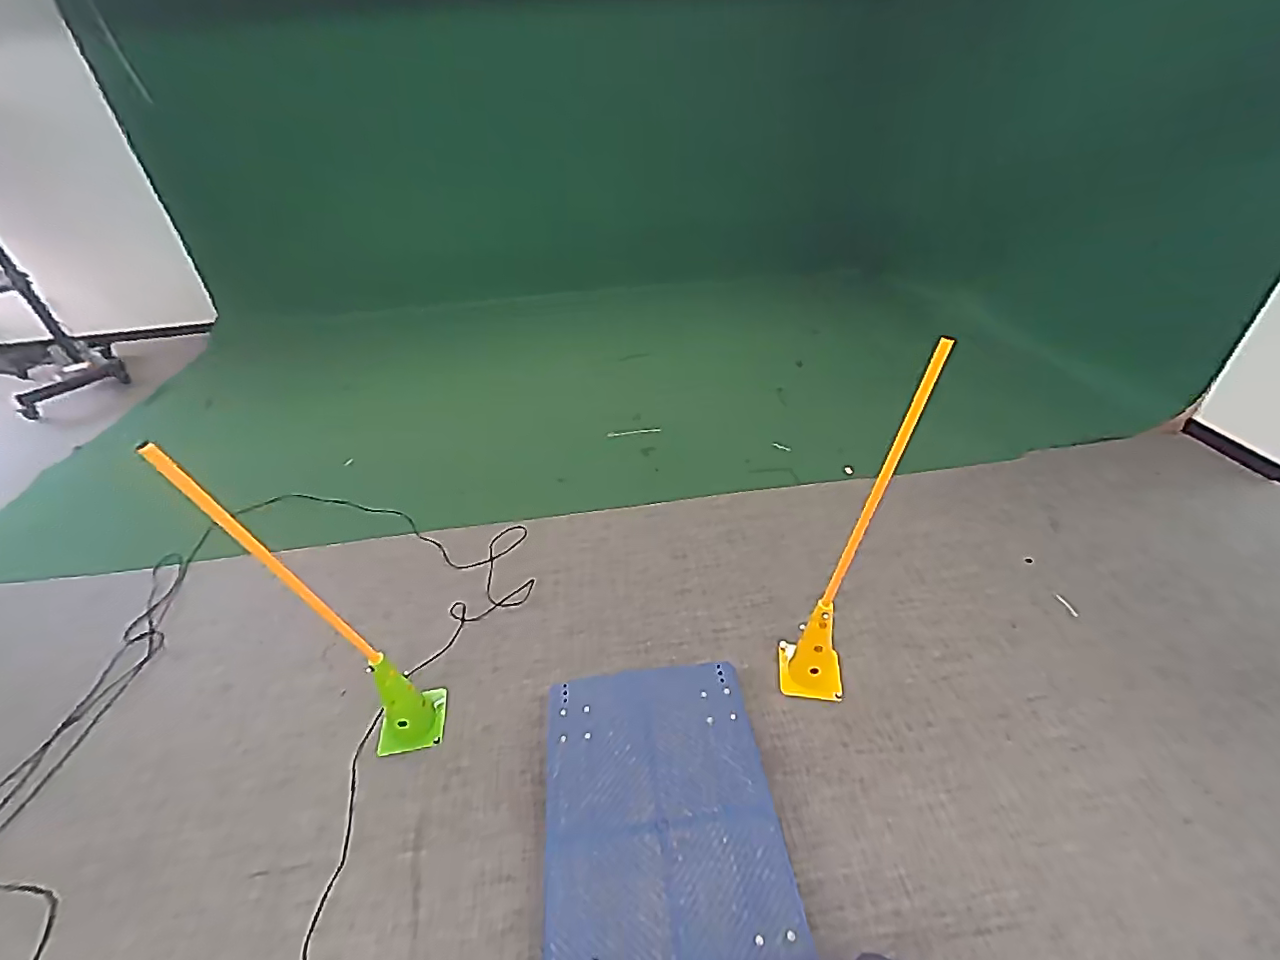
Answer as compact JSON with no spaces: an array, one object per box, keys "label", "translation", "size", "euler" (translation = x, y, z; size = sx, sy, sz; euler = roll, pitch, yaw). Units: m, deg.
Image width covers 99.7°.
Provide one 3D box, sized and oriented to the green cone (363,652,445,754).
[{"label":"green cone","translation":[-0.759,0.648,1.667],"size":[0.202,0.368,0.200],"euler":[-10,38,-6]}]
